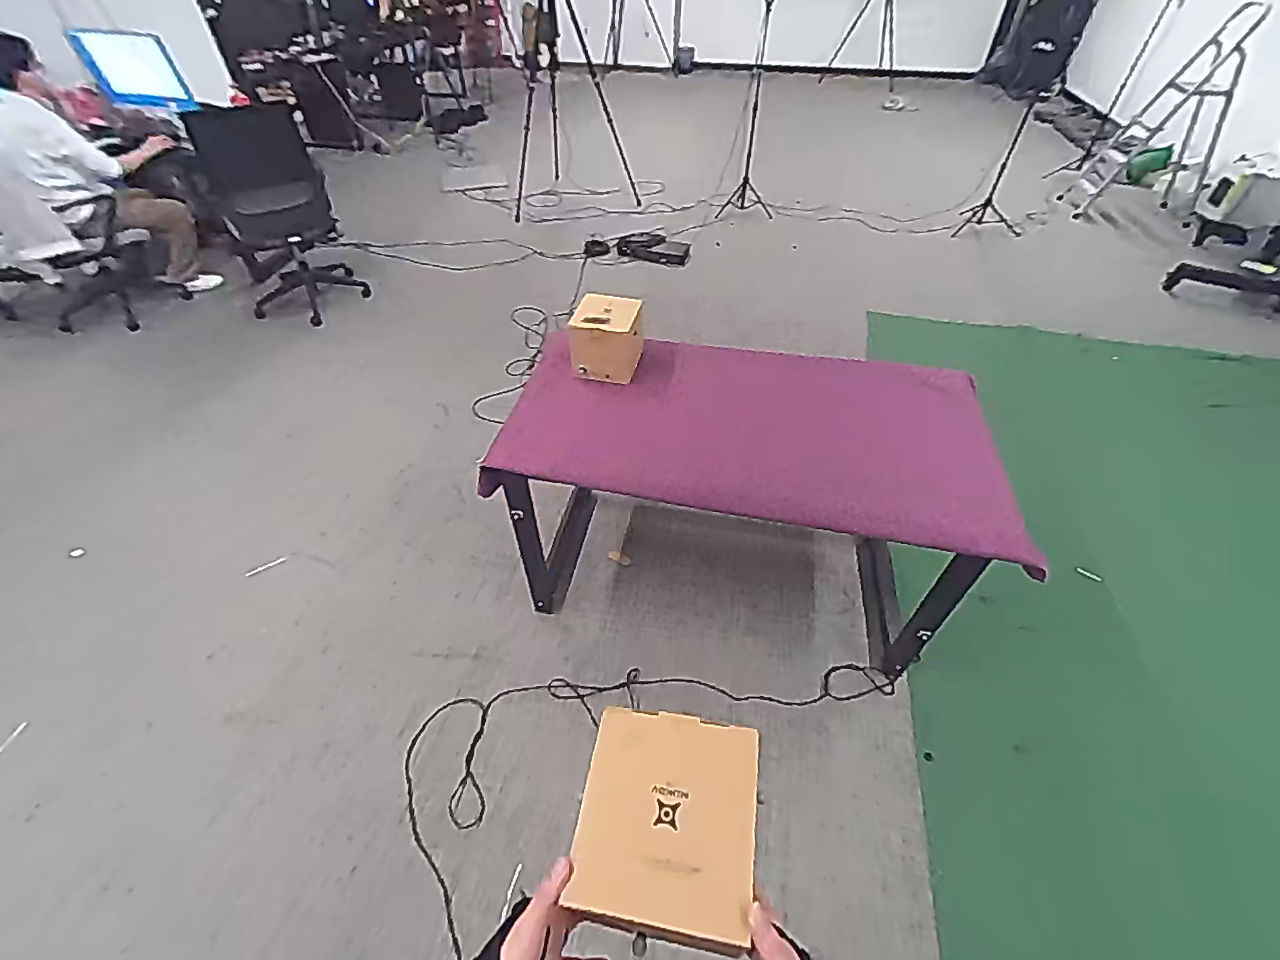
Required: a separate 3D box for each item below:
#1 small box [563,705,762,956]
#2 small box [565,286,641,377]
[{"bbox_3d":[0.032,0.367,0.569,0.168,0.176,0.179,6,49,10],"label":"small box"},{"bbox_3d":[-0.095,-0.407,1.489,0.168,0.176,0.179,11,49,8],"label":"small box"}]
